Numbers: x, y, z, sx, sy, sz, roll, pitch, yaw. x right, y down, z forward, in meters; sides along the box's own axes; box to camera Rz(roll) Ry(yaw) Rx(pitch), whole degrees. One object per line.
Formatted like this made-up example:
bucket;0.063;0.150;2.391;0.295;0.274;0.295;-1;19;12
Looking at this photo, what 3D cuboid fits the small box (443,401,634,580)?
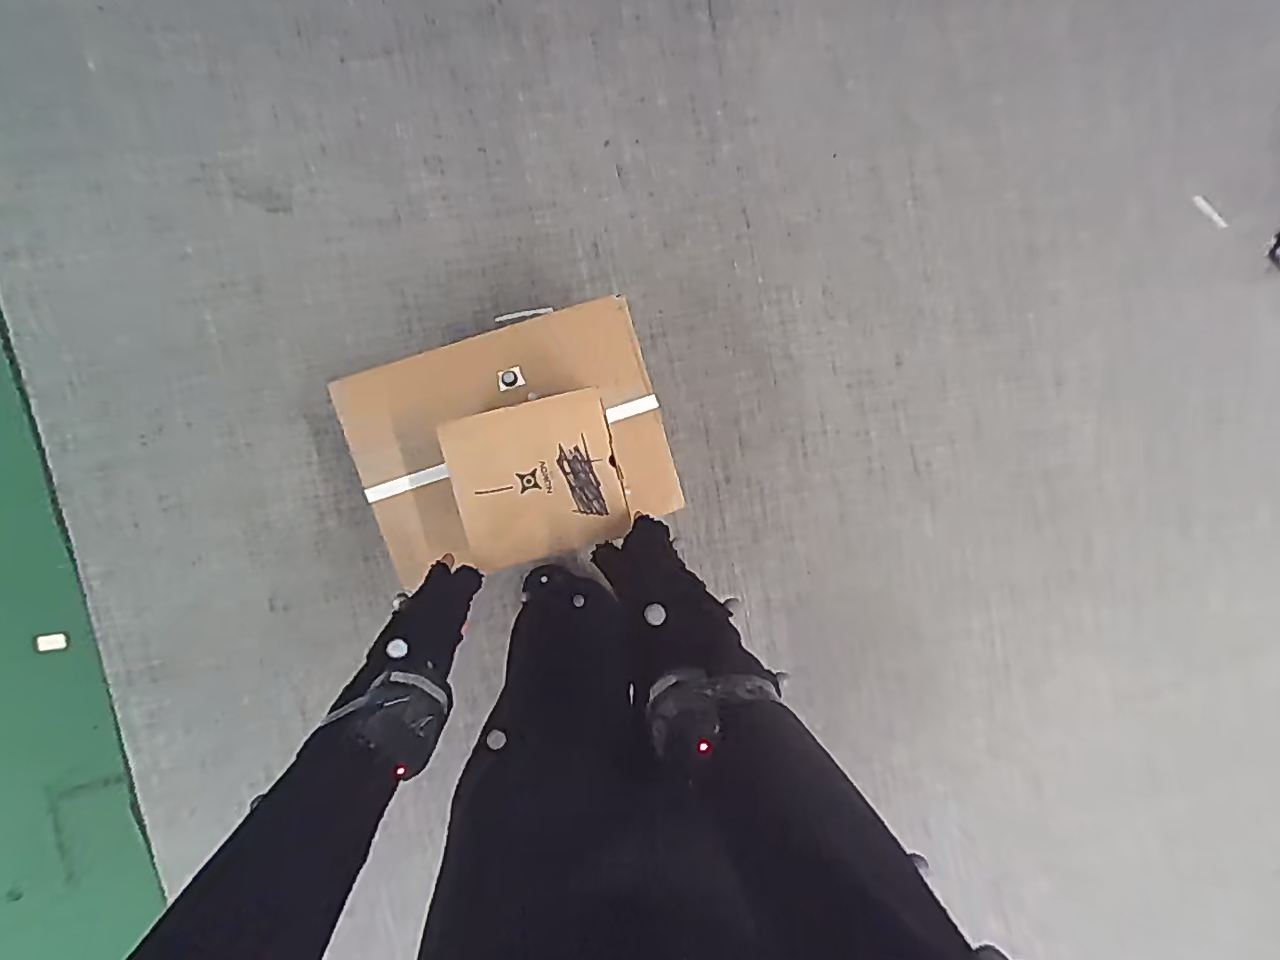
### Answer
small box;-0.114;0.005;0.662;0.179;0.176;0.168;-14;95;-3
